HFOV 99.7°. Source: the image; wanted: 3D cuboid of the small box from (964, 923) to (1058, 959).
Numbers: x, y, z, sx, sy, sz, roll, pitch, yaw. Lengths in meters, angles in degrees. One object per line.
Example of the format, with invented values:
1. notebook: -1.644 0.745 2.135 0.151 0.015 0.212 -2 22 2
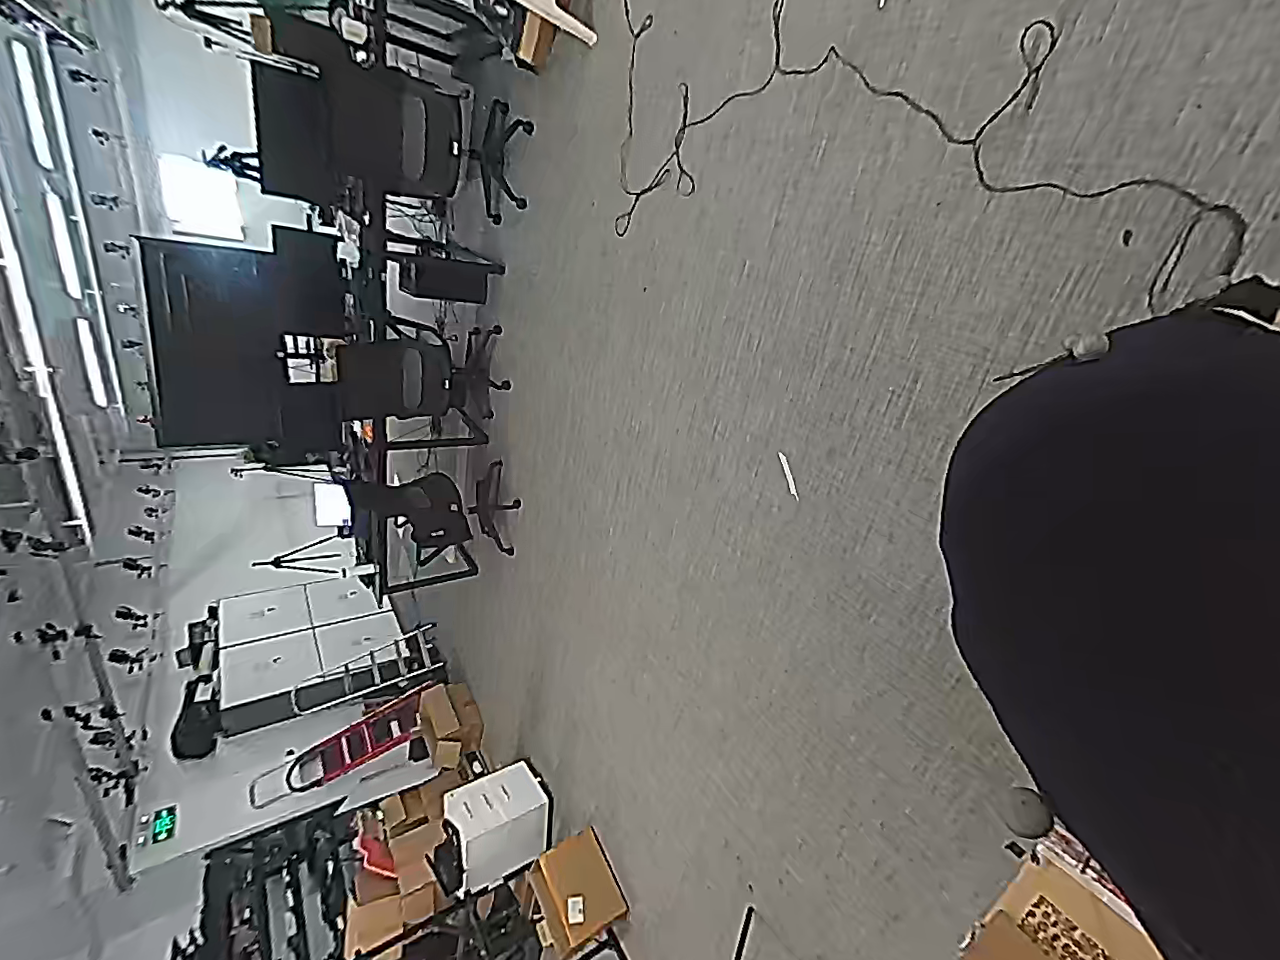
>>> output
1. small box: 0.571 0.823 0.815 0.179 0.176 0.168 39 124 46
